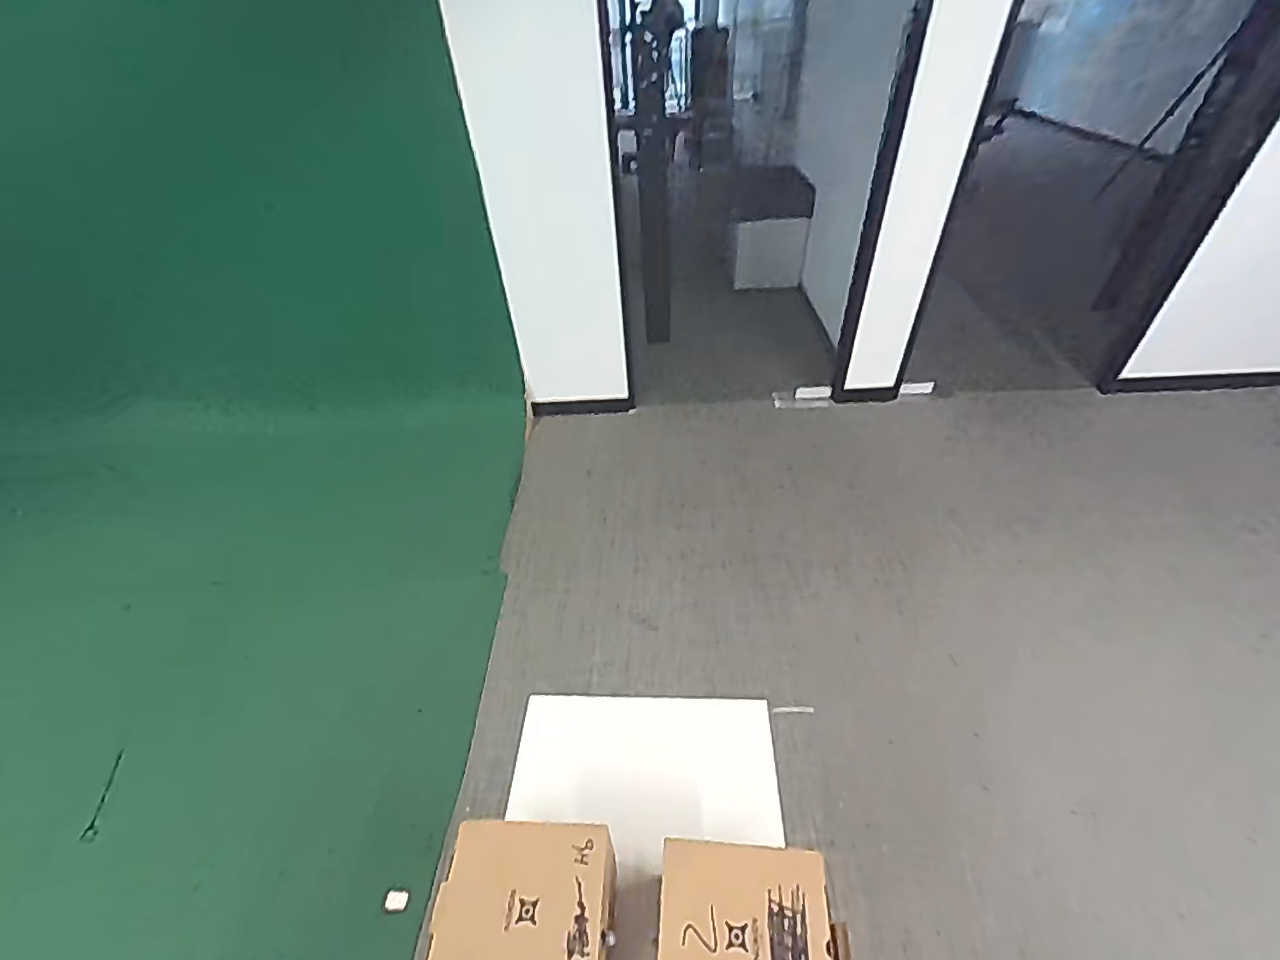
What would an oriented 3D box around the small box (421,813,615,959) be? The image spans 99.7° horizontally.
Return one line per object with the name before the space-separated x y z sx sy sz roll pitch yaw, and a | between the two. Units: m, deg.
small box | -0.127 0.508 0.627 0.179 0.176 0.168 0 43 3
